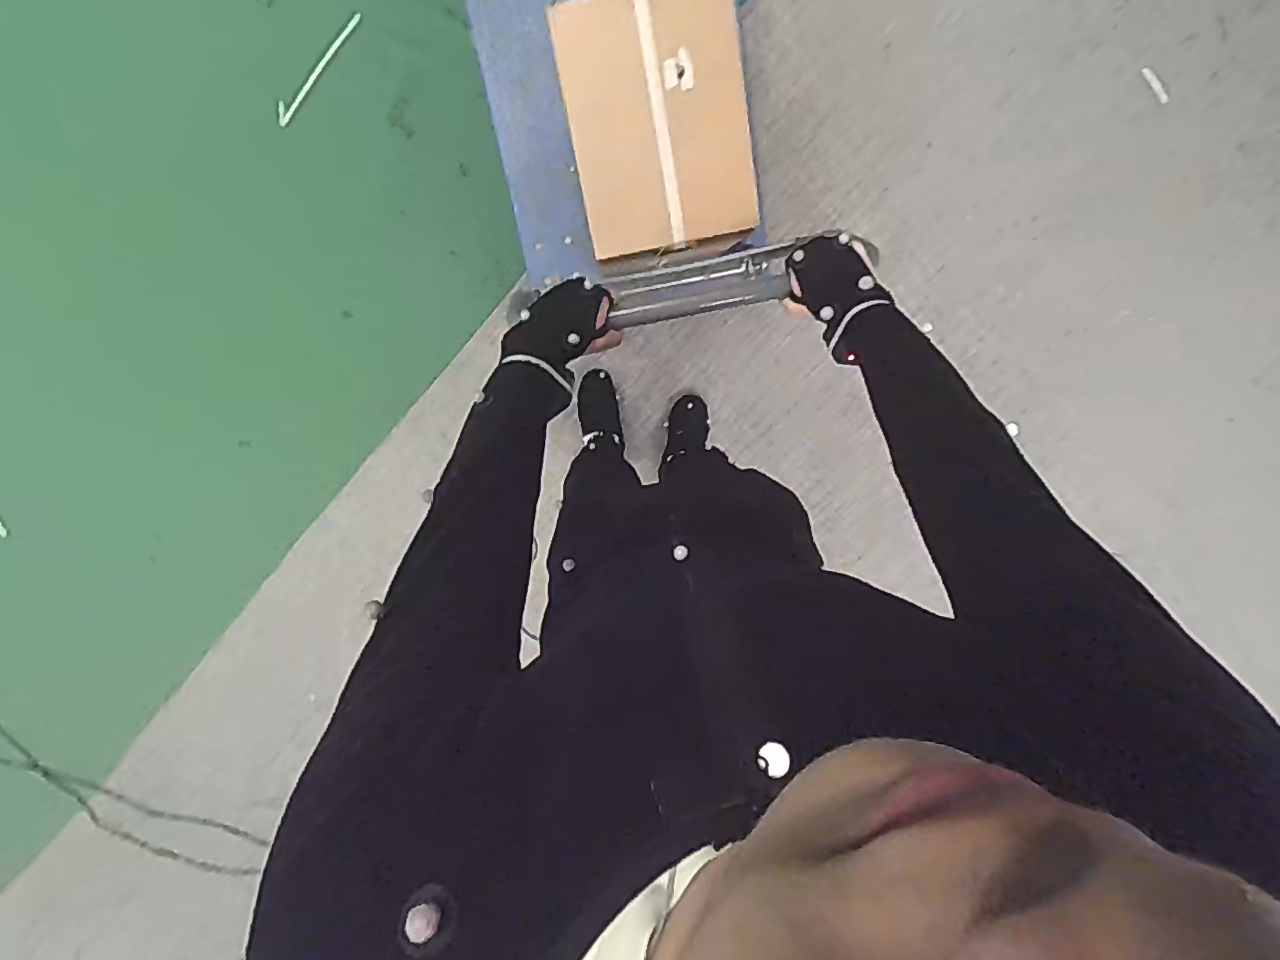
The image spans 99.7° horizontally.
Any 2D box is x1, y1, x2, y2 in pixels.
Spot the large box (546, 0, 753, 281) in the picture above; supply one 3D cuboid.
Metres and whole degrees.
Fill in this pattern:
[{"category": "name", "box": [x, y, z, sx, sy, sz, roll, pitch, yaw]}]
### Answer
[{"category": "large box", "box": [0.023, -0.663, 1.119, 0.320, 0.320, 0.408, -11, 105, 0]}]
